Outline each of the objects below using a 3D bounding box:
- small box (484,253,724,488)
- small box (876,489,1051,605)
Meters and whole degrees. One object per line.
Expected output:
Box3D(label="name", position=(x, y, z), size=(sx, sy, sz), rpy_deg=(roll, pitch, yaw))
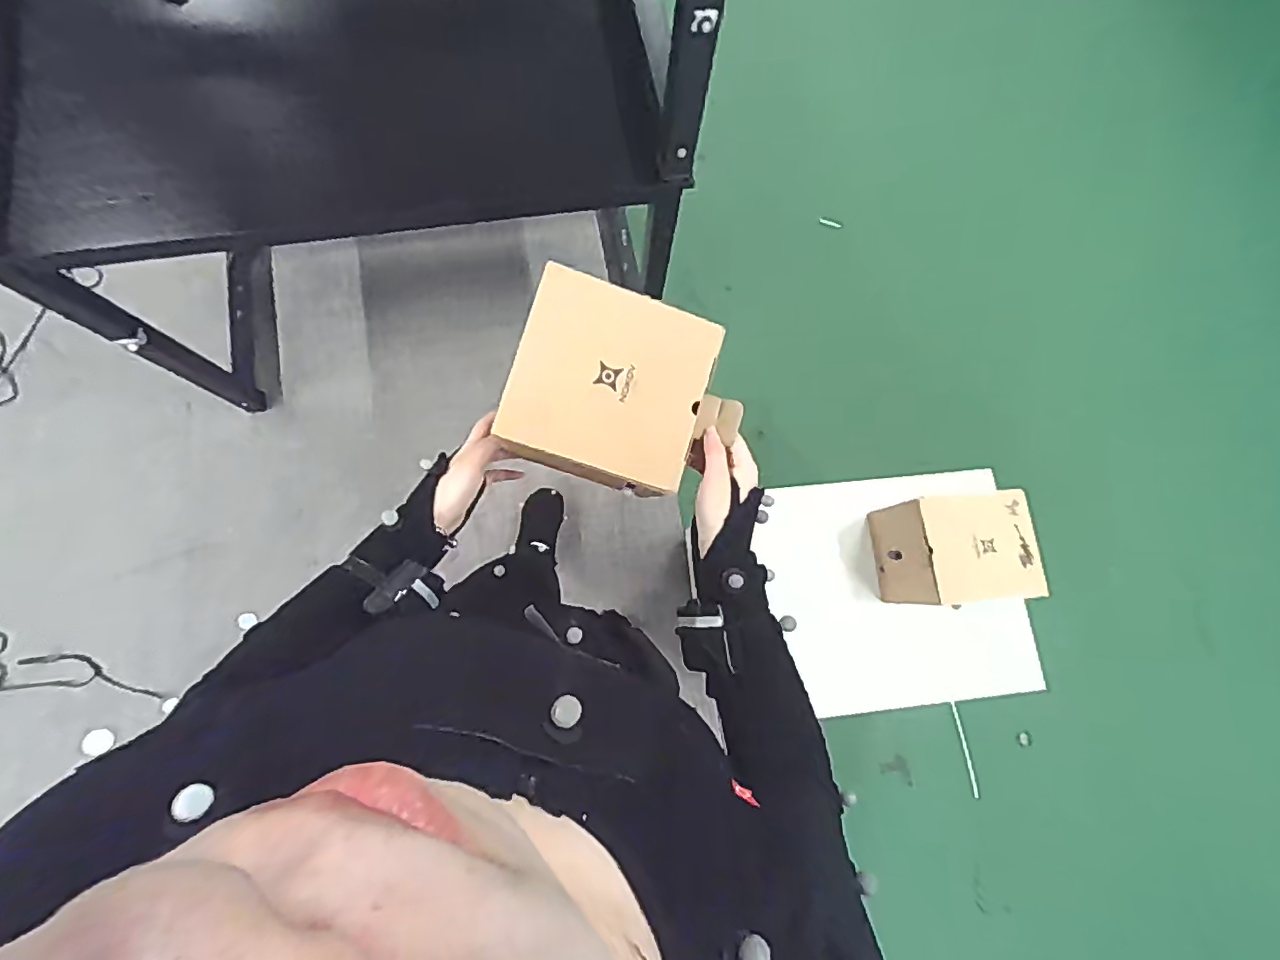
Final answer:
Box3D(label="small box", position=(-0.041, -0.091, 0.549), size=(0.179, 0.176, 0.168), rpy_deg=(17, 85, -10))
Box3D(label="small box", position=(0.509, 0.115, 0.884), size=(0.179, 0.176, 0.168), rpy_deg=(-4, 79, -4))
